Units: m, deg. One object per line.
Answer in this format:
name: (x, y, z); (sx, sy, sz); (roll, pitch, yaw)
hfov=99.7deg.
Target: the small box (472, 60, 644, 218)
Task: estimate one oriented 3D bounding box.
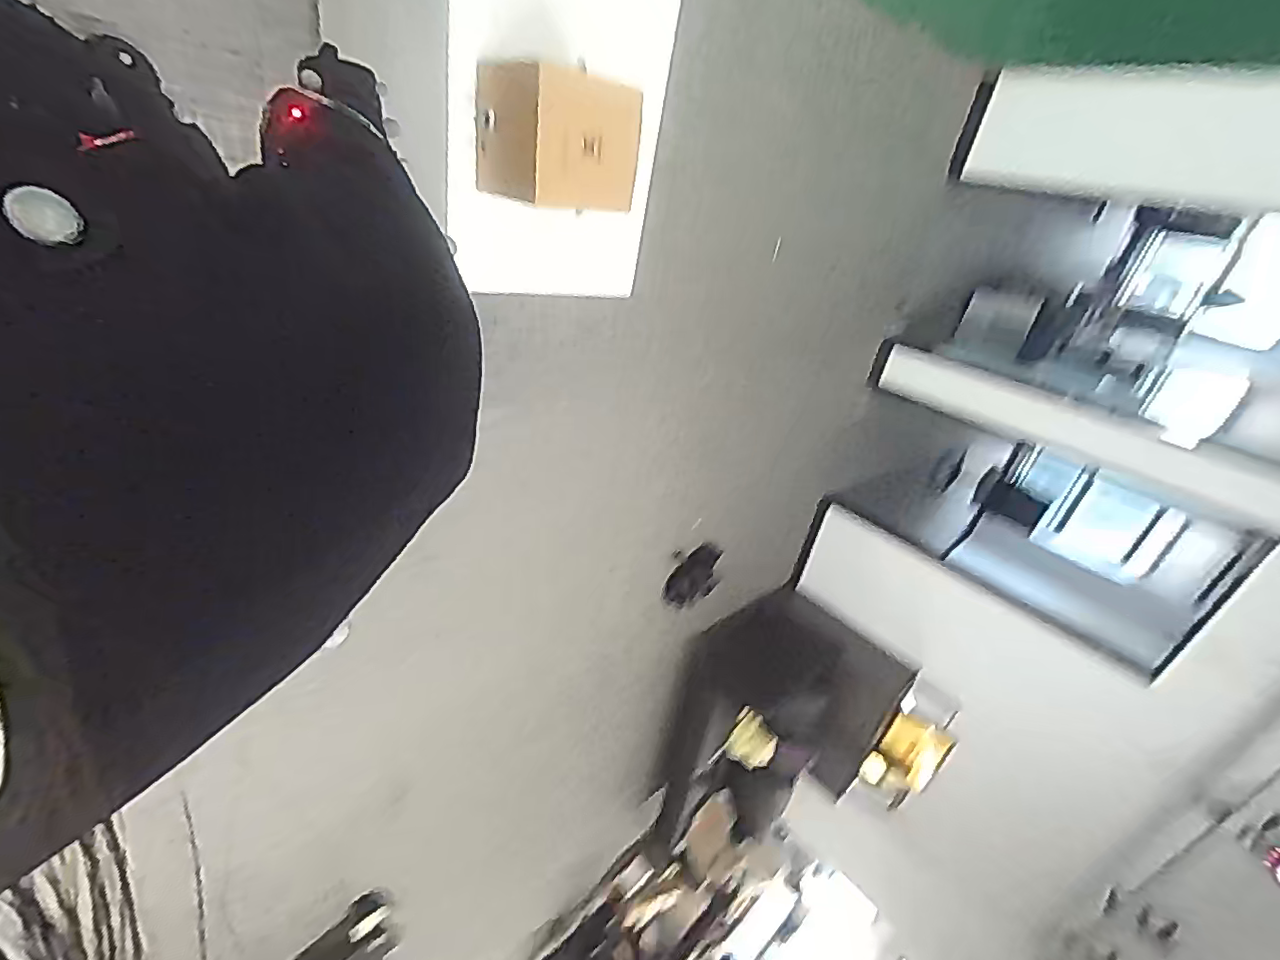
small box: (-0.121, -0.481, 0.772); (0.179, 0.176, 0.168); (-18, 129, -37)
